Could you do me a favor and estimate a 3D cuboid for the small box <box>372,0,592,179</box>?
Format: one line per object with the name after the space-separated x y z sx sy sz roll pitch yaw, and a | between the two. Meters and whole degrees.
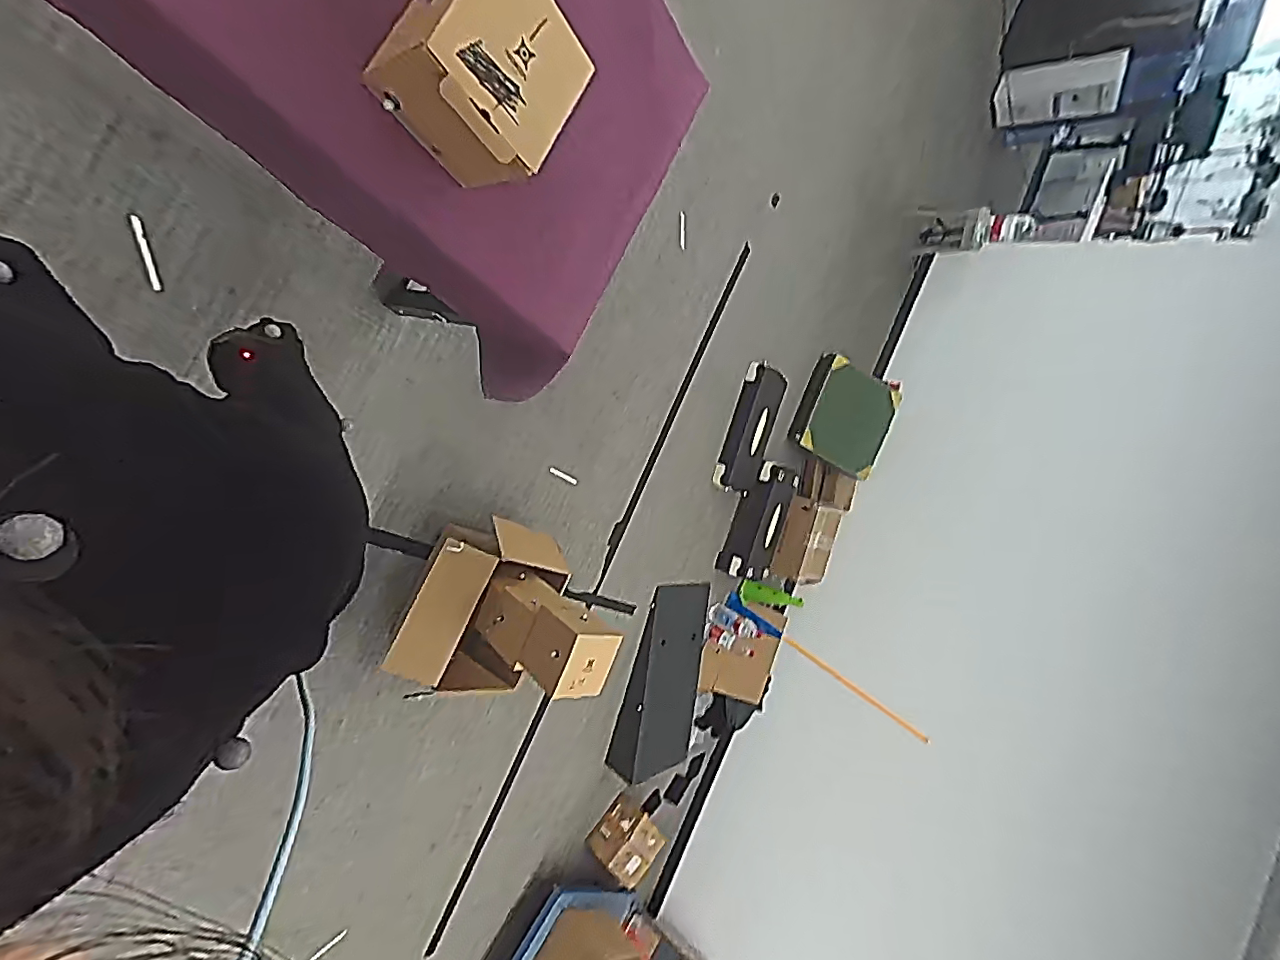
-0.199 -0.506 0.670 0.168 0.176 0.179 36 76 -49 | small box

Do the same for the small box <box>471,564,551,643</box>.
-0.402 0.369 1.667 0.168 0.176 0.179 0 109 -45 | small box

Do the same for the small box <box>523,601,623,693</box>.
-0.182 0.436 1.429 0.168 0.176 0.179 20 94 -46 | small box
